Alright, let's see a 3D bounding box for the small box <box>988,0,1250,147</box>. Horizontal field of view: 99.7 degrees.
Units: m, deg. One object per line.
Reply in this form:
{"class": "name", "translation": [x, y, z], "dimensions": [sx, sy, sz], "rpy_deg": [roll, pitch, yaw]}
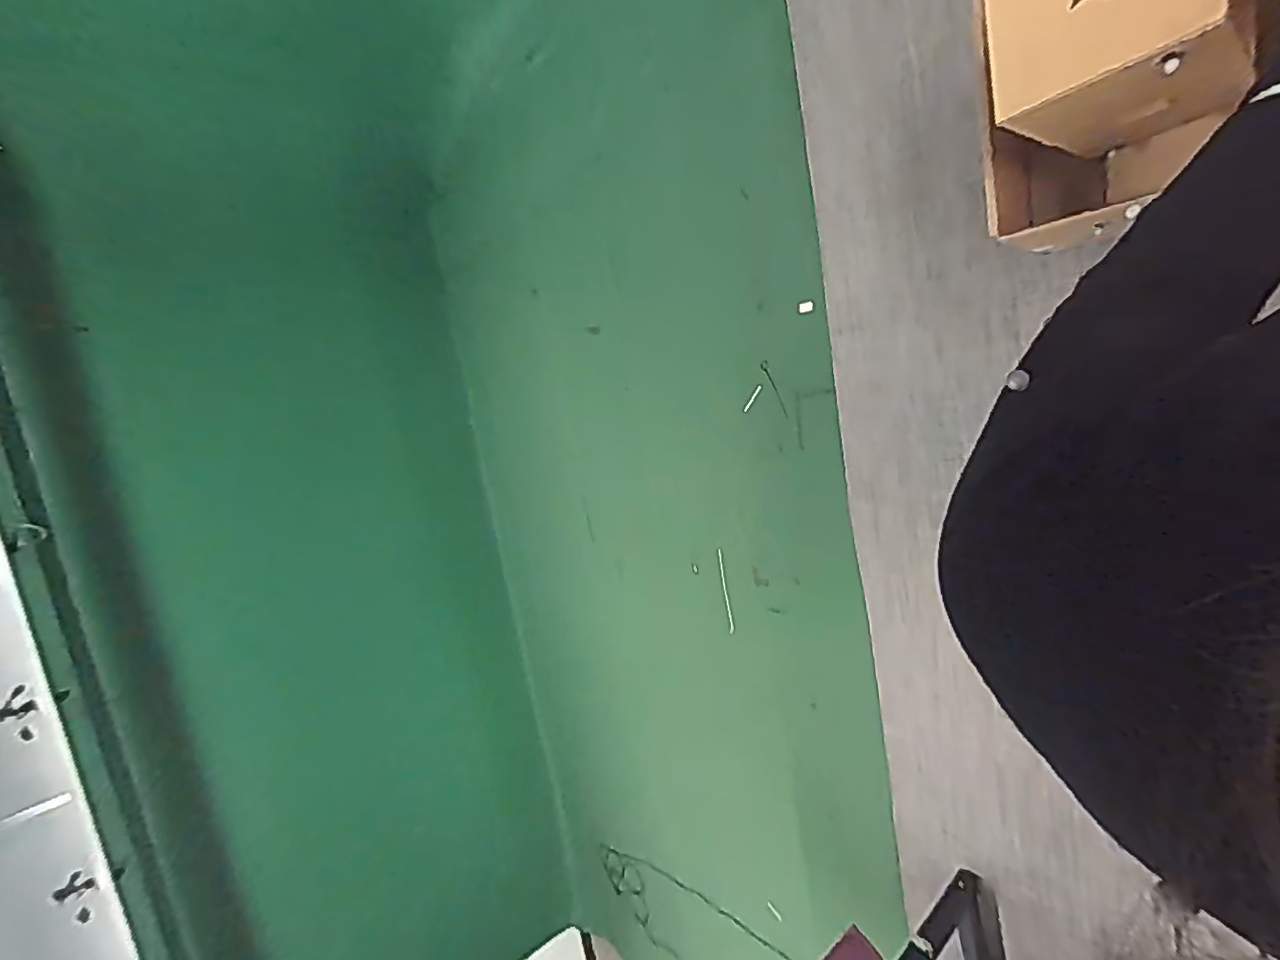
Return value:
{"class": "small box", "translation": [0.499, -0.483, 0.568], "dimensions": [0.179, 0.176, 0.168], "rpy_deg": [-1, 101, 53]}
